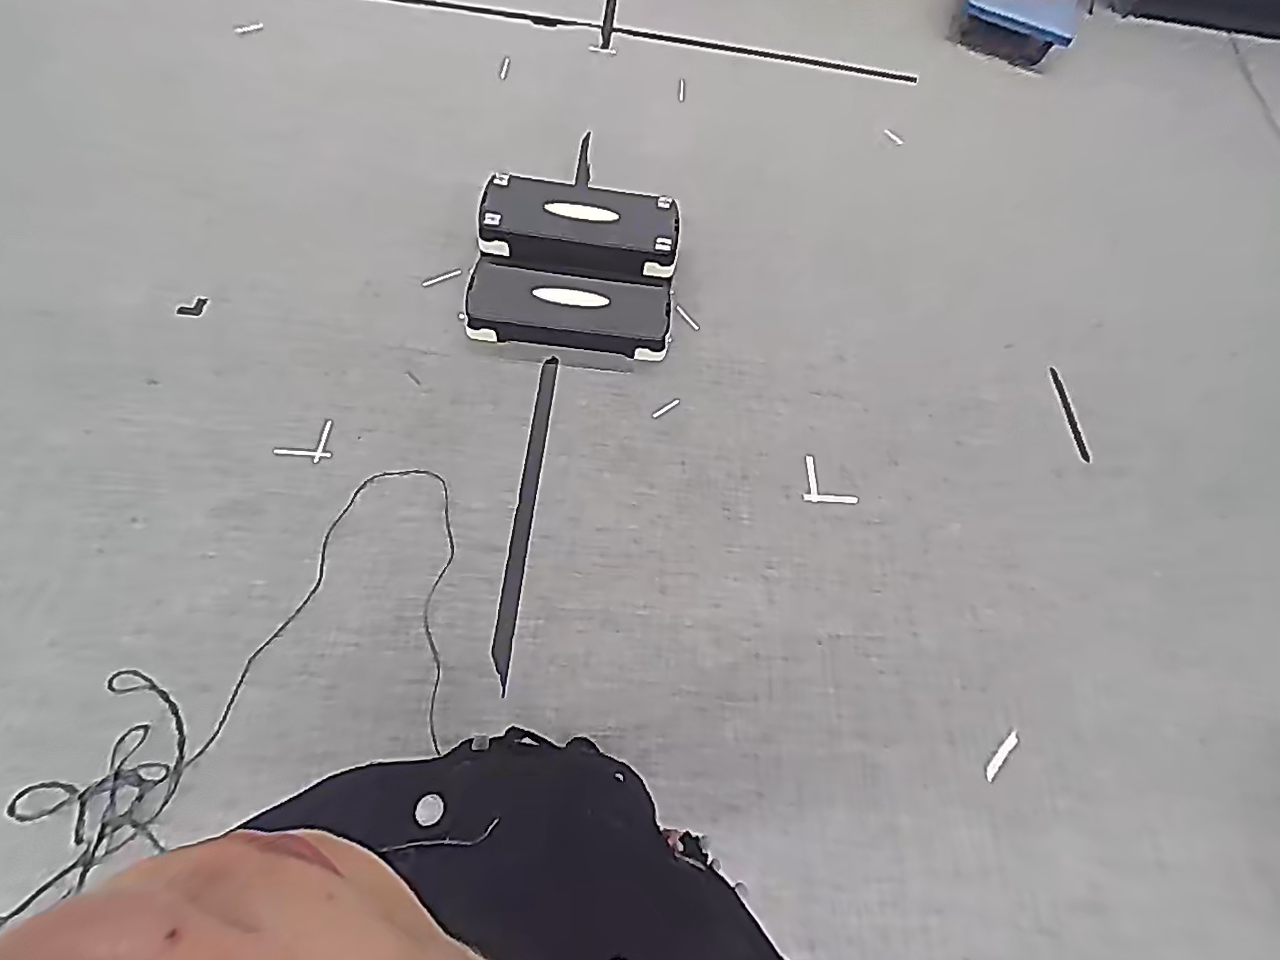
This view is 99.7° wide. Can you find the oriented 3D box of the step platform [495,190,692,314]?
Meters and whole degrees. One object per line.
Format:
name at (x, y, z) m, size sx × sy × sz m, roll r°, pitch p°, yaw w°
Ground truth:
step platform at (-0.159, -0.810, 1.922) m, size 0.684 × 0.204 × 0.286 m, roll 10°, pitch 63°, yaw -2°
